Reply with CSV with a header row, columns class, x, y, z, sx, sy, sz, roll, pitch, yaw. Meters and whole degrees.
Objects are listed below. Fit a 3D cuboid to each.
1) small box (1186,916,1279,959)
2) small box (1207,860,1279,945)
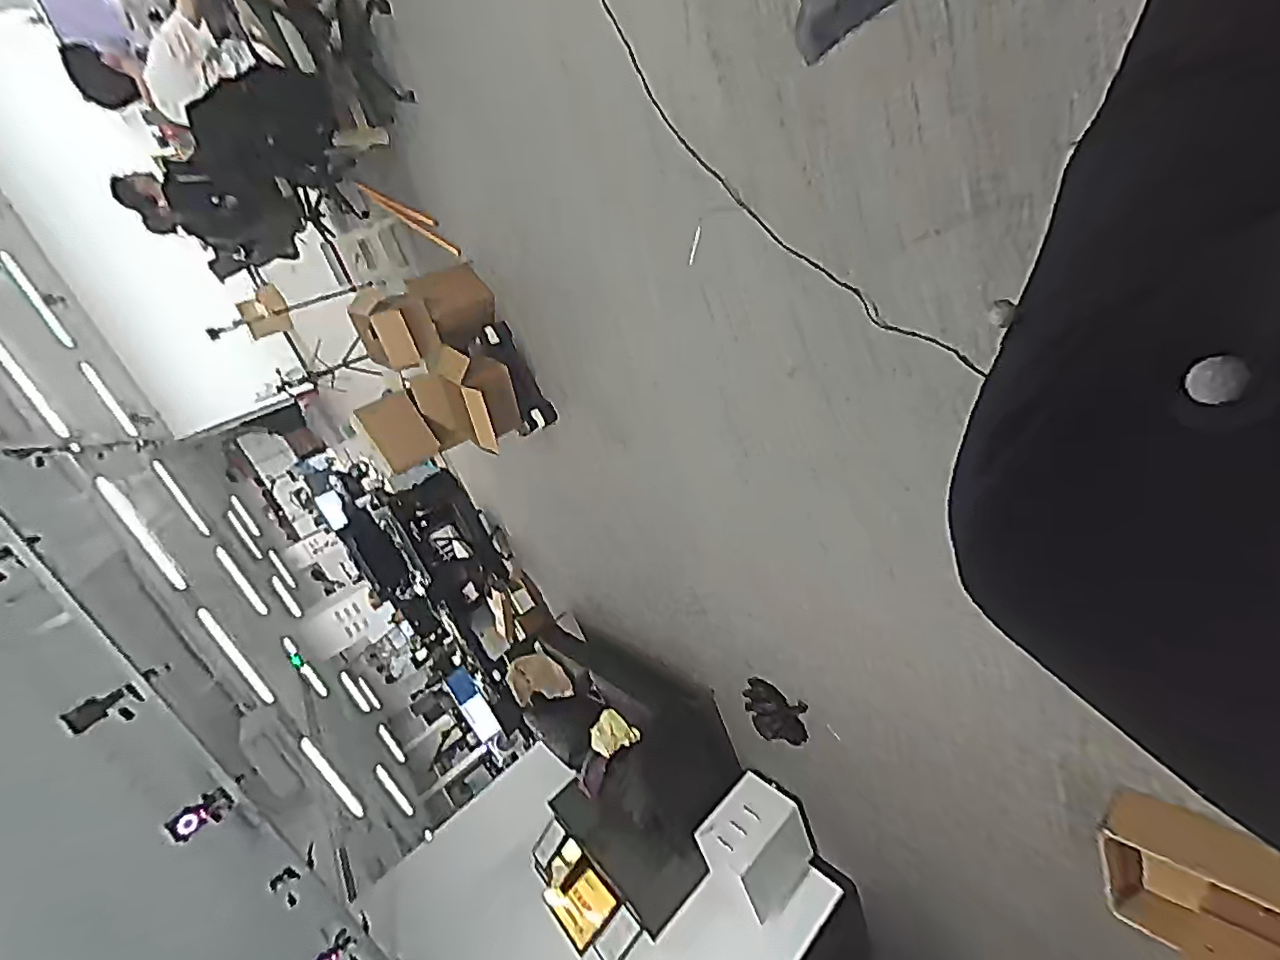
class,x,y,z,sx,sy,sz,roll,pitch,yaw
small box,1.496,1.232,1.331,0.179,0.176,0.168,-1,119,57
small box,1.636,1.159,1.420,0.179,0.176,0.168,2,122,56
